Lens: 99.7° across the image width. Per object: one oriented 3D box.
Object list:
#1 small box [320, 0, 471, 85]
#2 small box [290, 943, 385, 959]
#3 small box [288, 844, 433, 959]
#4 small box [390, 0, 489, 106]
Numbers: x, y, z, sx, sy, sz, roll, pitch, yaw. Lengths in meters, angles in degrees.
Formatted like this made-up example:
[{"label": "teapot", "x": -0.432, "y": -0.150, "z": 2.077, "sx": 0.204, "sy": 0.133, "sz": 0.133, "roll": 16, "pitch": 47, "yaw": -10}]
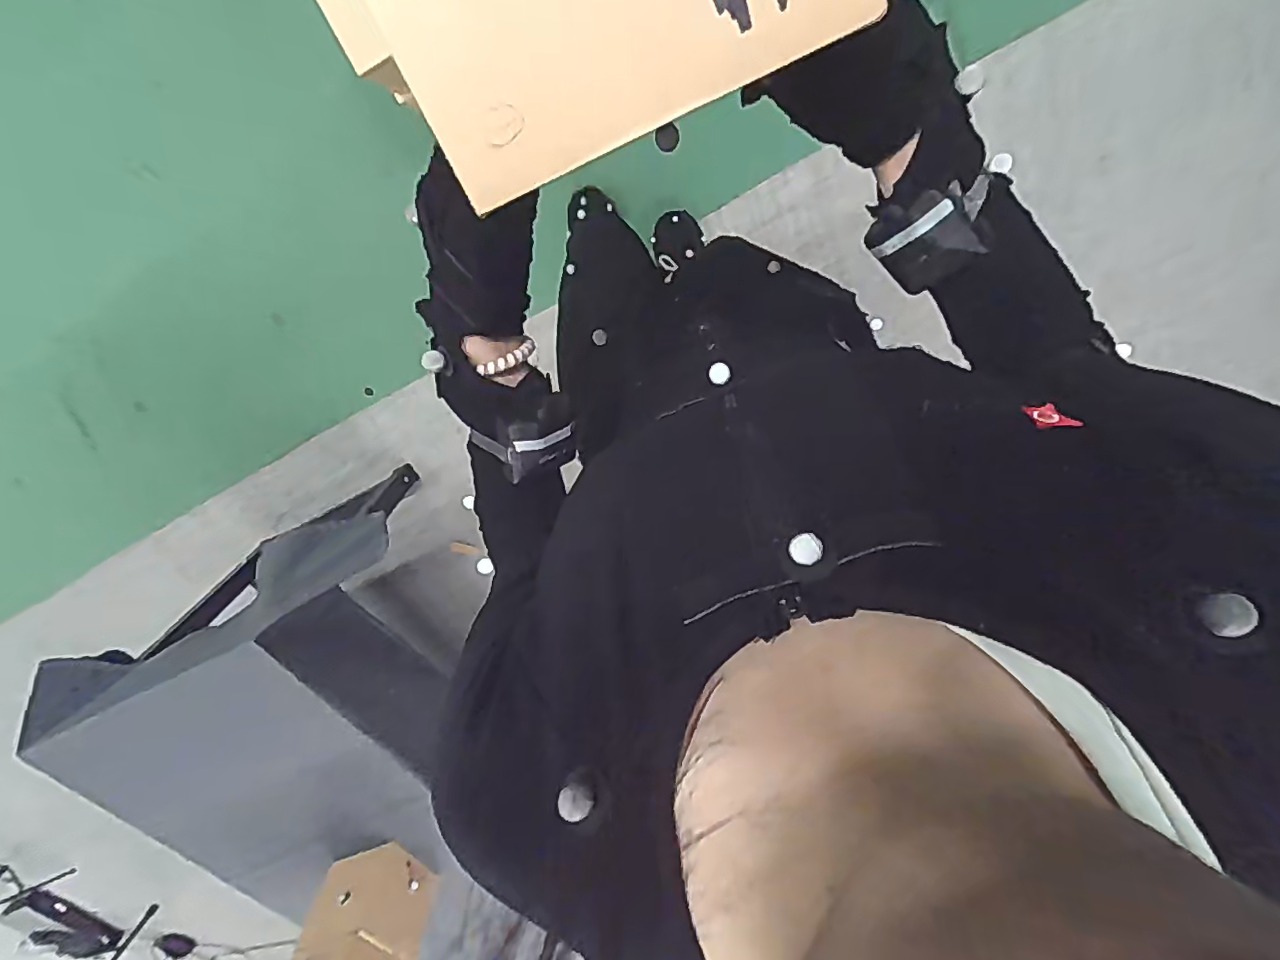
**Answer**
[{"label": "small box", "x": -0.412, "y": -0.798, "z": 0.900, "sx": 0.179, "sy": 0.176, "sz": 0.168, "roll": -21, "pitch": 115, "yaw": 10}, {"label": "small box", "x": -0.568, "y": 0.986, "z": 0.986, "sx": 0.168, "sy": 0.176, "sz": 0.179, "roll": -26, "pitch": 115, "yaw": 13}, {"label": "small box", "x": -0.570, "y": 0.907, "z": 1.129, "sx": 0.179, "sy": 0.176, "sz": 0.168, "roll": -25, "pitch": 115, "yaw": 11}, {"label": "small box", "x": -0.418, "y": -0.860, "z": 1.053, "sx": 0.168, "sy": 0.176, "sz": 0.179, "roll": -20, "pitch": 115, "yaw": 9}]
